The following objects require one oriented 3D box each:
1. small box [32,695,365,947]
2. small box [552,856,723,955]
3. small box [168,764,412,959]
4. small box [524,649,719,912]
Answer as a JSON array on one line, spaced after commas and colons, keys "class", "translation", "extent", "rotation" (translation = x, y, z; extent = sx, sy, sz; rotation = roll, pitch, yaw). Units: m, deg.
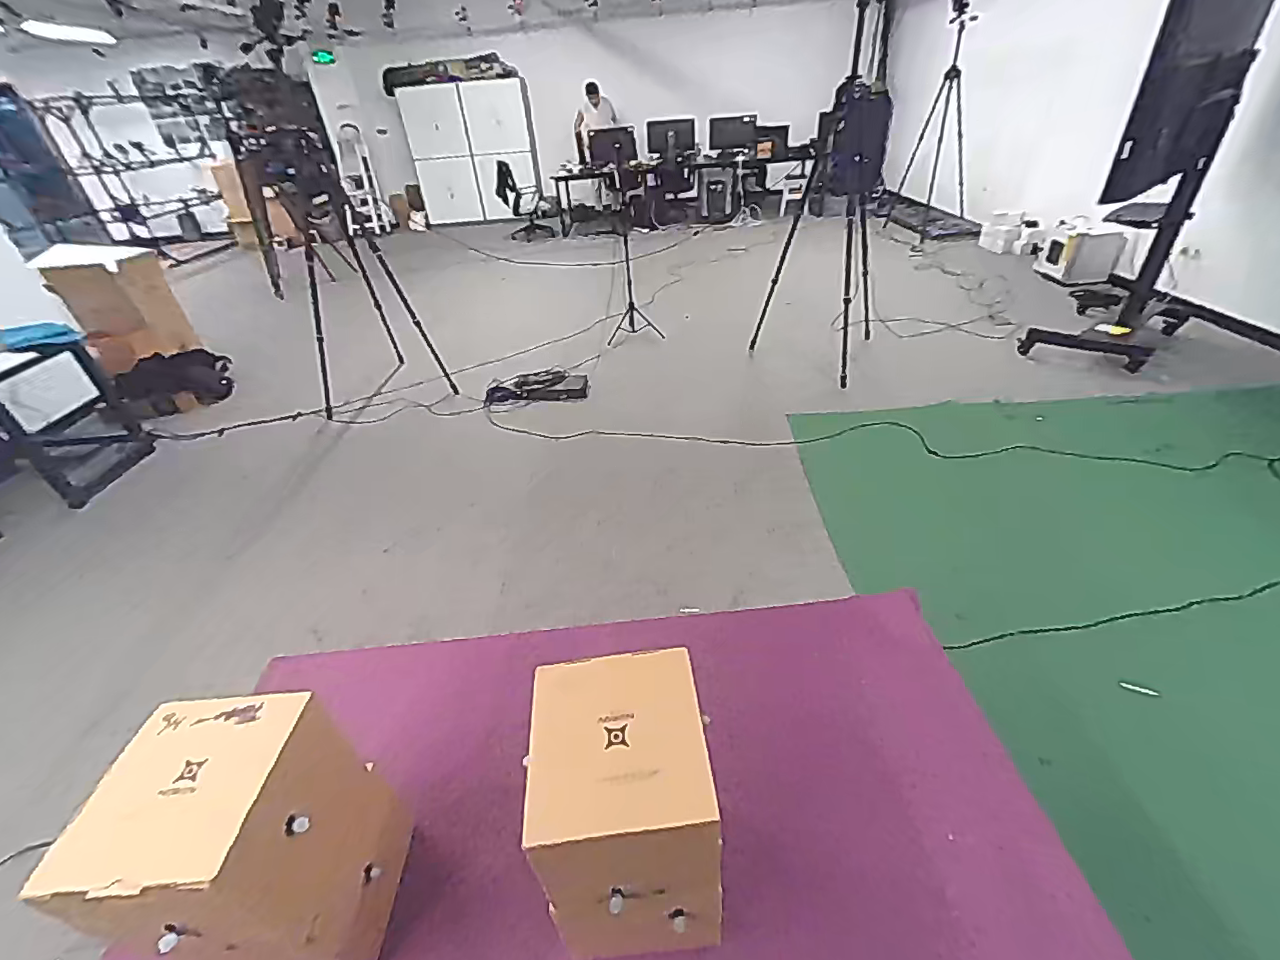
[{"class": "small box", "translation": [-0.415, 0.349, 0.555], "extent": [0.168, 0.176, 0.179], "rotation": [-4, 36, 1]}, {"class": "small box", "translation": [-0.001, 0.440, 0.654], "extent": [0.179, 0.176, 0.168], "rotation": [-6, 35, 0]}, {"class": "small box", "translation": [-0.399, 0.478, 0.656], "extent": [0.168, 0.176, 0.179], "rotation": [-5, 36, 1]}, {"class": "small box", "translation": [-0.015, 0.306, 0.561], "extent": [0.168, 0.176, 0.179], "rotation": [-7, 36, -1]}]
